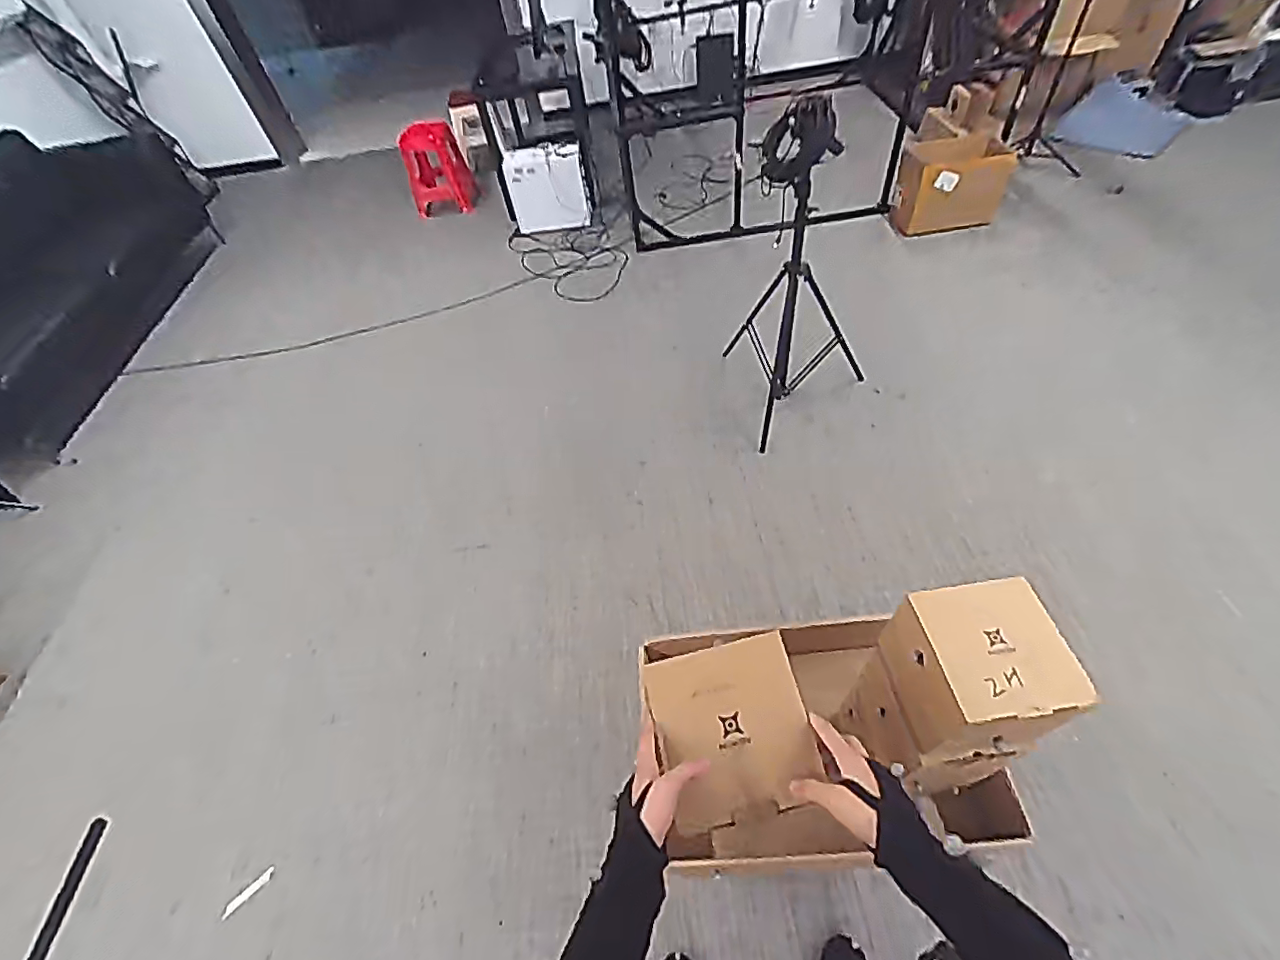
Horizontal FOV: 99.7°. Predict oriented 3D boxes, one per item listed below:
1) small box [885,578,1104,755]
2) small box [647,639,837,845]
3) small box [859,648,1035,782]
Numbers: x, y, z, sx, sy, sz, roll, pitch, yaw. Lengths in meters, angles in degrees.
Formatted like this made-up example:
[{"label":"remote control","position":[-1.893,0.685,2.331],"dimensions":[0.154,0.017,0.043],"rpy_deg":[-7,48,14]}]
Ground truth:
[{"label":"small box","position":[0.467,0.262,0.753],"dimensions":[0.168,0.176,0.179],"rpy_deg":[-9,52,1]},{"label":"small box","position":[0.114,0.304,0.655],"dimensions":[0.168,0.176,0.179],"rpy_deg":[-15,68,0]},{"label":"small box","position":[0.477,0.375,0.873],"dimensions":[0.168,0.176,0.179],"rpy_deg":[-9,51,1]}]
